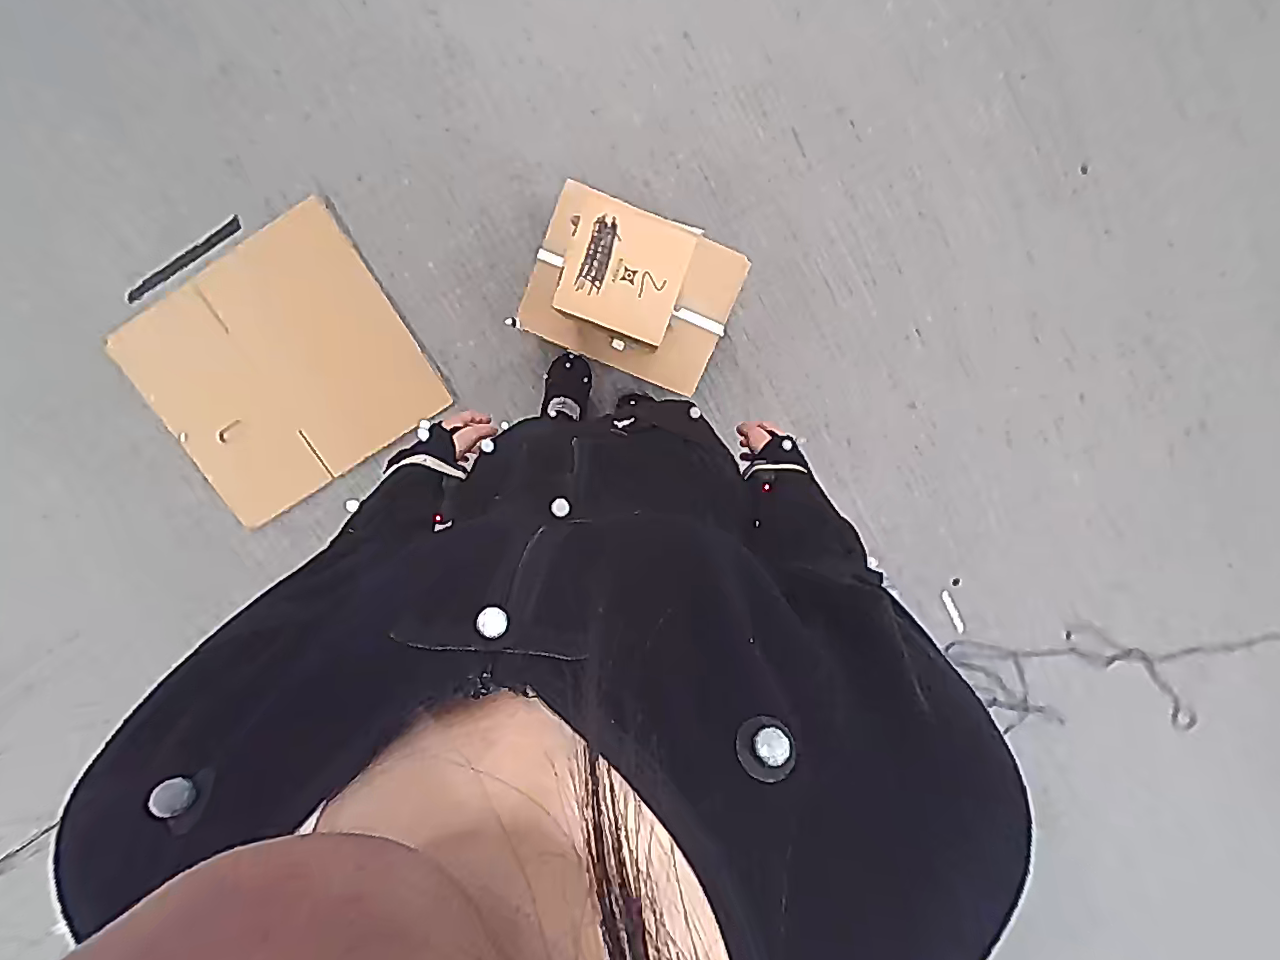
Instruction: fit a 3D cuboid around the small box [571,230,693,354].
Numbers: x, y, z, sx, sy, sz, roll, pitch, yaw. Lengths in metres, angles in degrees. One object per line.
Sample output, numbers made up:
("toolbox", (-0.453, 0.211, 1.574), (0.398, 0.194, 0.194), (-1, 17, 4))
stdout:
("small box", (-0.017, -0.345, 1.030), (0.179, 0.176, 0.168), (20, 101, -5))
